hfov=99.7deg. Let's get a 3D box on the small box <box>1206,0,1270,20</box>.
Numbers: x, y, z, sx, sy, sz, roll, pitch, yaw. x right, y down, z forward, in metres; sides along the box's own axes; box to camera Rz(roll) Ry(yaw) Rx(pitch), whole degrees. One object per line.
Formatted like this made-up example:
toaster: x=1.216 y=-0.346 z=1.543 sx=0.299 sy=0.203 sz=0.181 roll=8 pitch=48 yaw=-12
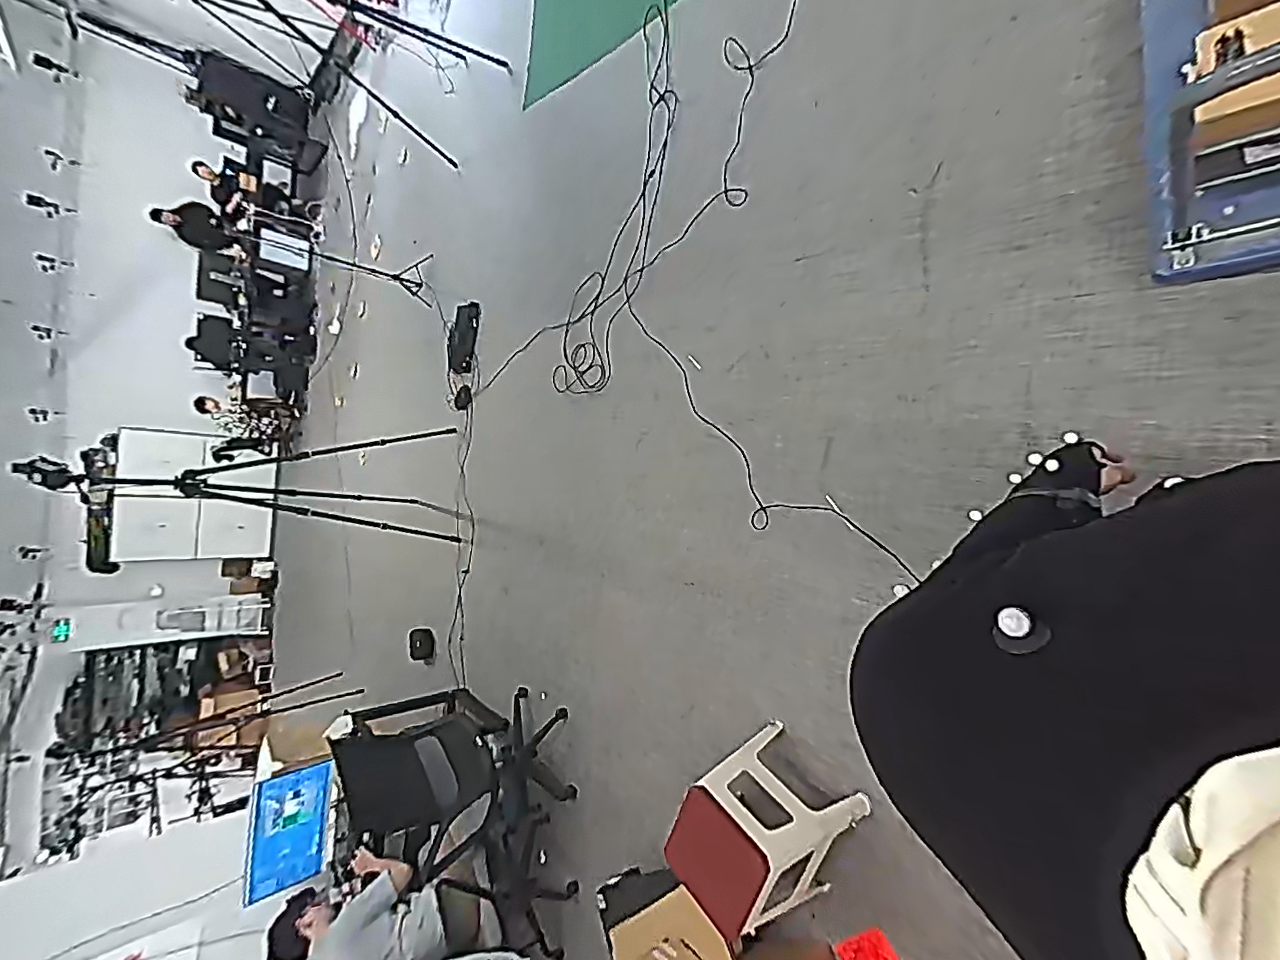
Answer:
small box: x=1.126 y=-0.979 z=0.961 sx=0.168 sy=0.176 sz=0.179 roll=-7 pitch=83 yaw=45
